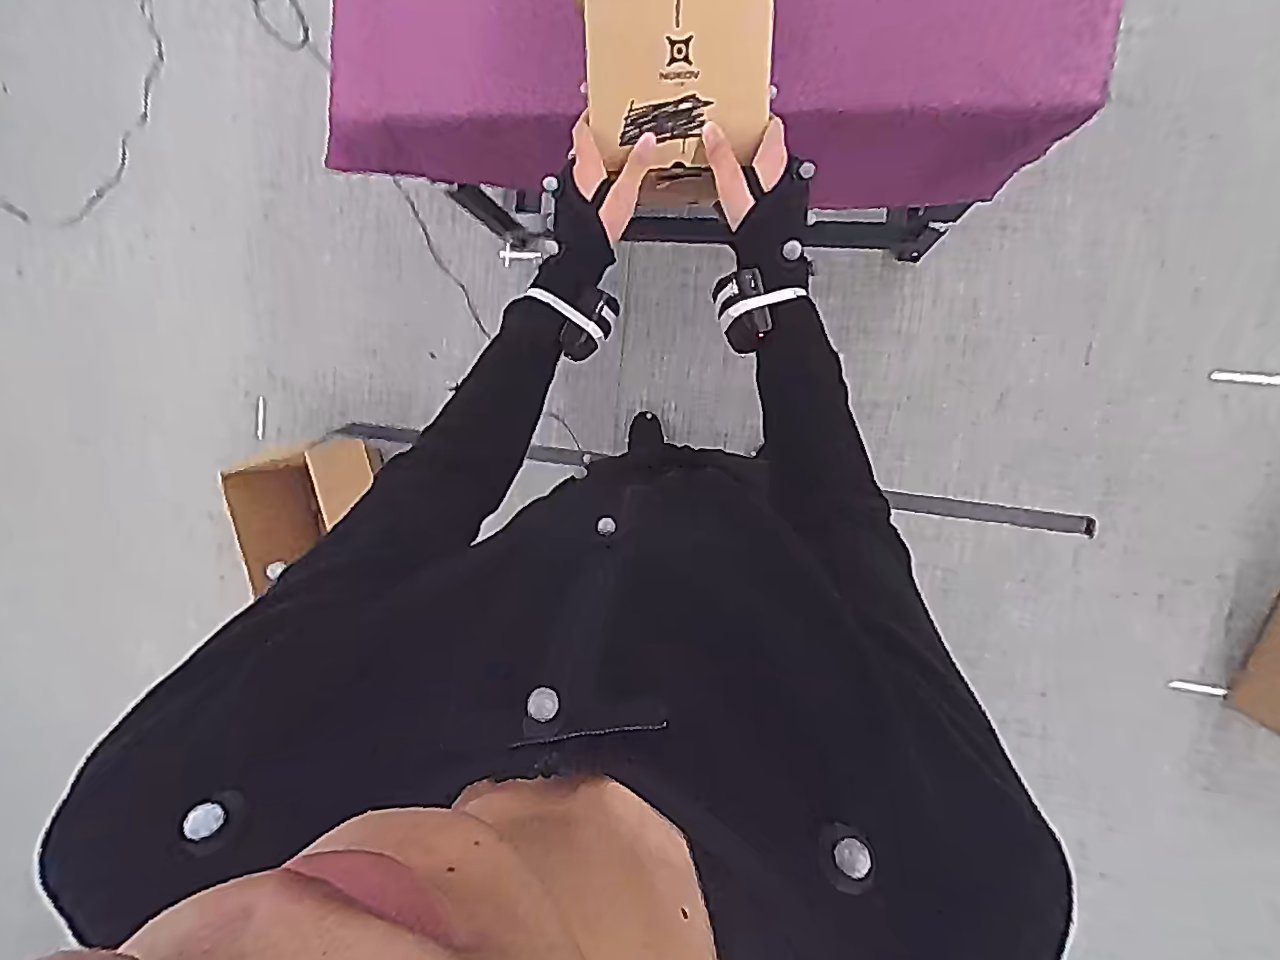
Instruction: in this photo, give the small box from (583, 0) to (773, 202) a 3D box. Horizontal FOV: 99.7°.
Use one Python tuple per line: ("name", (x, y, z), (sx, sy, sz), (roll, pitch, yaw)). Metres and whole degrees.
("small box", (0.037, -0.394, 0.554), (0.168, 0.176, 0.179), (-1, 106, 2))
